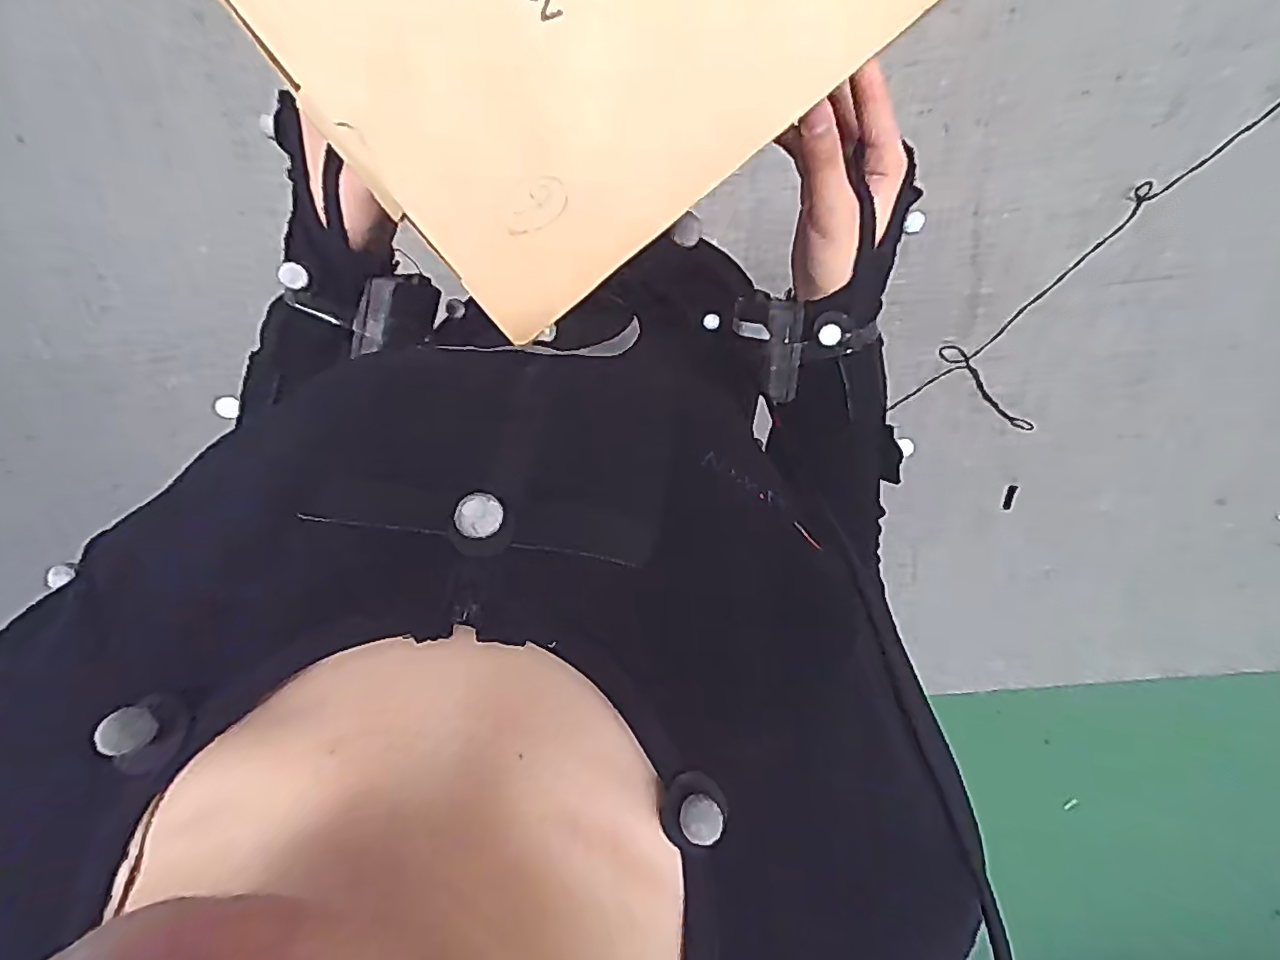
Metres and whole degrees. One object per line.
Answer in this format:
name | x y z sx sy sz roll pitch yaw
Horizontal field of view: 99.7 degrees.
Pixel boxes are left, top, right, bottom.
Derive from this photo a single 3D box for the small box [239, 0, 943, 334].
small box | -0.017 -0.192 0.220 0.179 0.176 0.168 -32 111 21
